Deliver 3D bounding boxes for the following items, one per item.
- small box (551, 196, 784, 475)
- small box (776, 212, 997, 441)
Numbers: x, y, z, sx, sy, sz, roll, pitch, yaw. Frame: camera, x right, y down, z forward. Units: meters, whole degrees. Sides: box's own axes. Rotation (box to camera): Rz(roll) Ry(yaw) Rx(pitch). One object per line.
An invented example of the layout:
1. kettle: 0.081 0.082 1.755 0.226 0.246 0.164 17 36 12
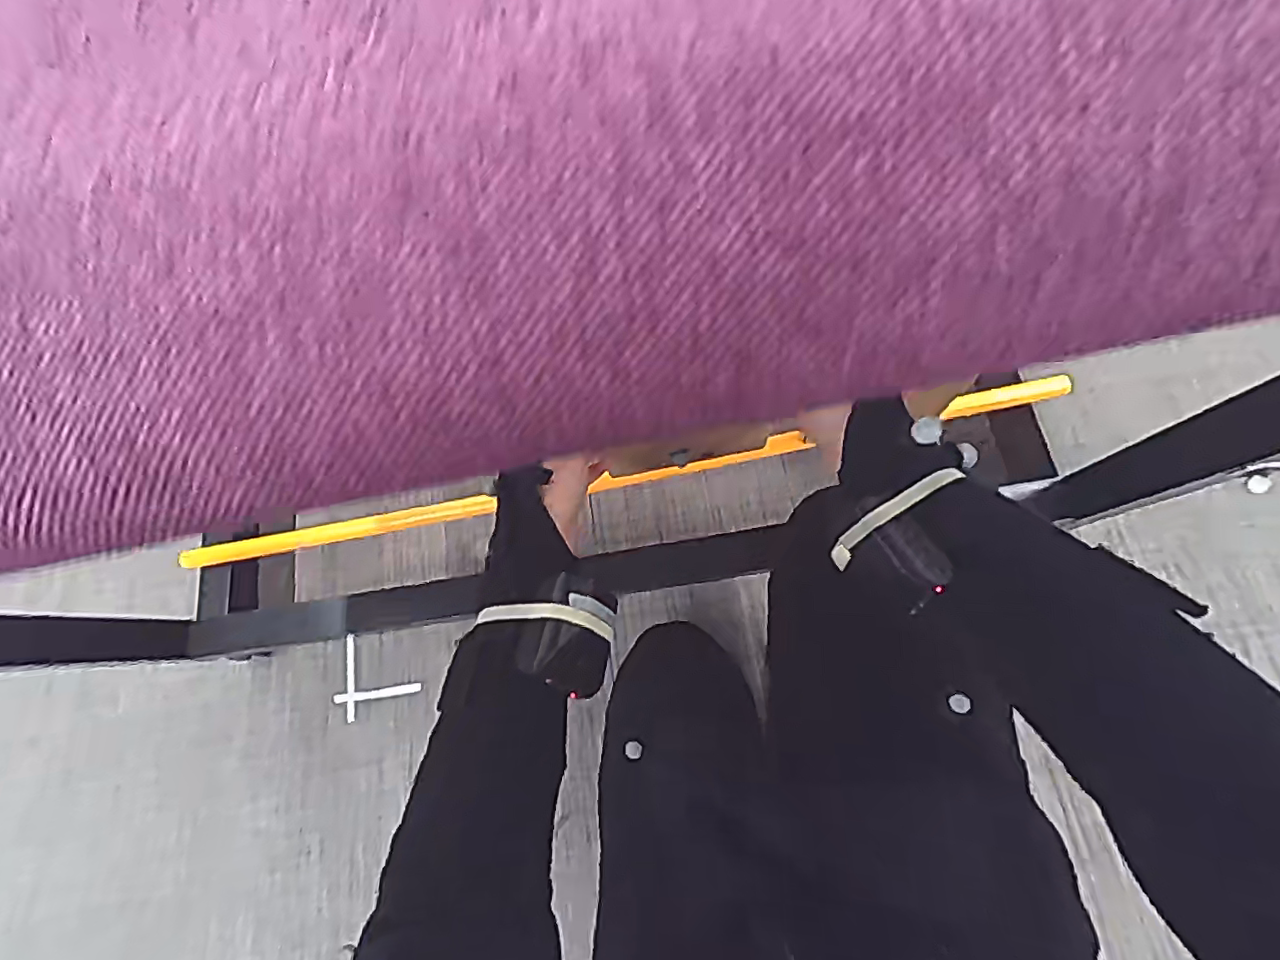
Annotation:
1. small box: 0.025 -0.120 0.507 0.168 0.176 0.179 -11 75 5
2. small box: 0.260 -0.164 0.621 0.168 0.176 0.179 -11 74 6
